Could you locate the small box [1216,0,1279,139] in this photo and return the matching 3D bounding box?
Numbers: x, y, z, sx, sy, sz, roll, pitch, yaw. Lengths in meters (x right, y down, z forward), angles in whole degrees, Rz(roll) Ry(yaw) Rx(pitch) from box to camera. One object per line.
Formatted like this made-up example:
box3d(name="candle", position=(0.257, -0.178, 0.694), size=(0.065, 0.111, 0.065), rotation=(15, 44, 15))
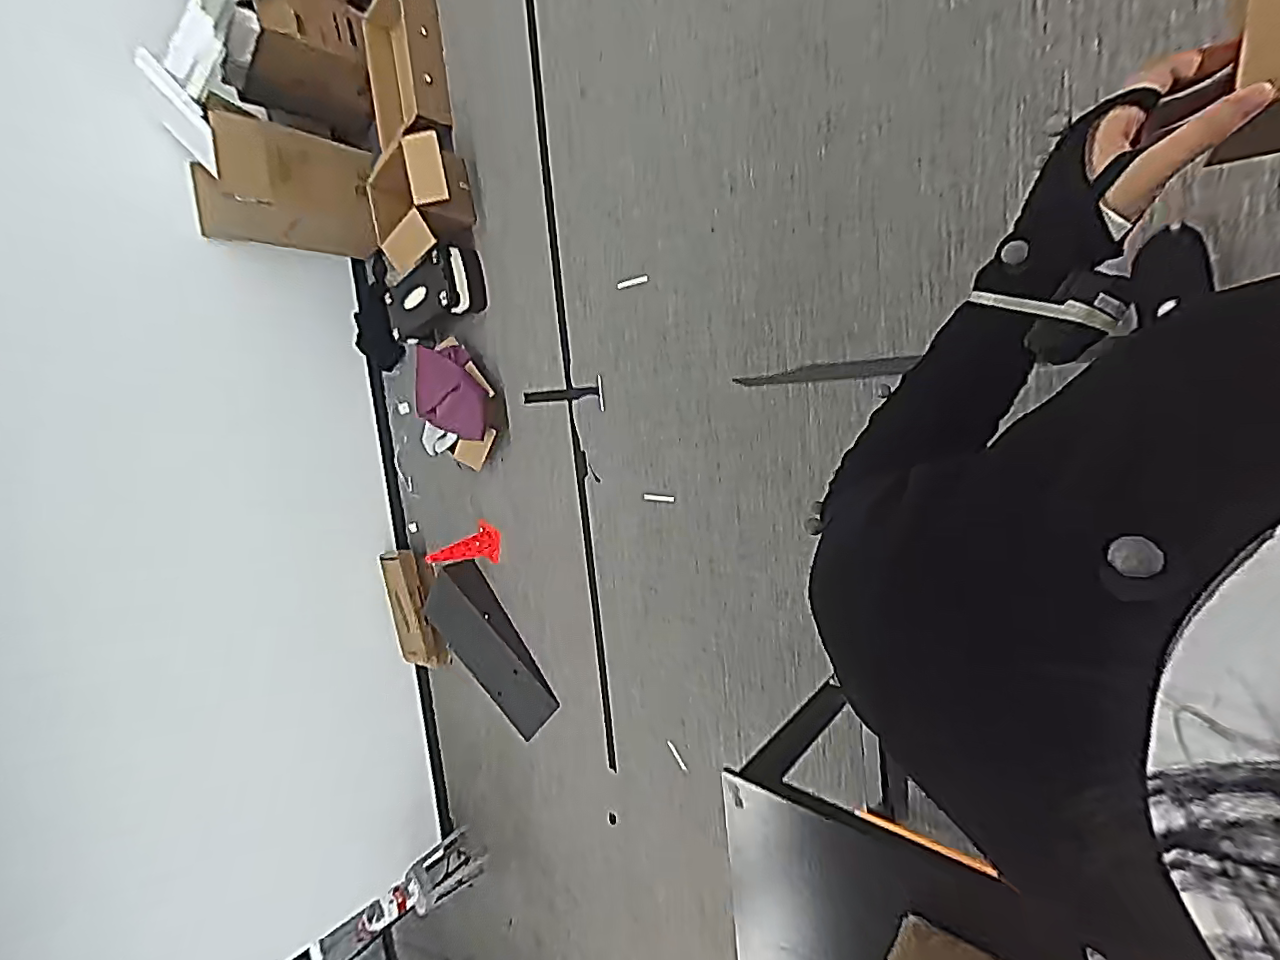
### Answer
box3d(name="small box", position=(0.448, -0.321, 0.293), size=(0.168, 0.176, 0.179), rotation=(7, 108, 42))
